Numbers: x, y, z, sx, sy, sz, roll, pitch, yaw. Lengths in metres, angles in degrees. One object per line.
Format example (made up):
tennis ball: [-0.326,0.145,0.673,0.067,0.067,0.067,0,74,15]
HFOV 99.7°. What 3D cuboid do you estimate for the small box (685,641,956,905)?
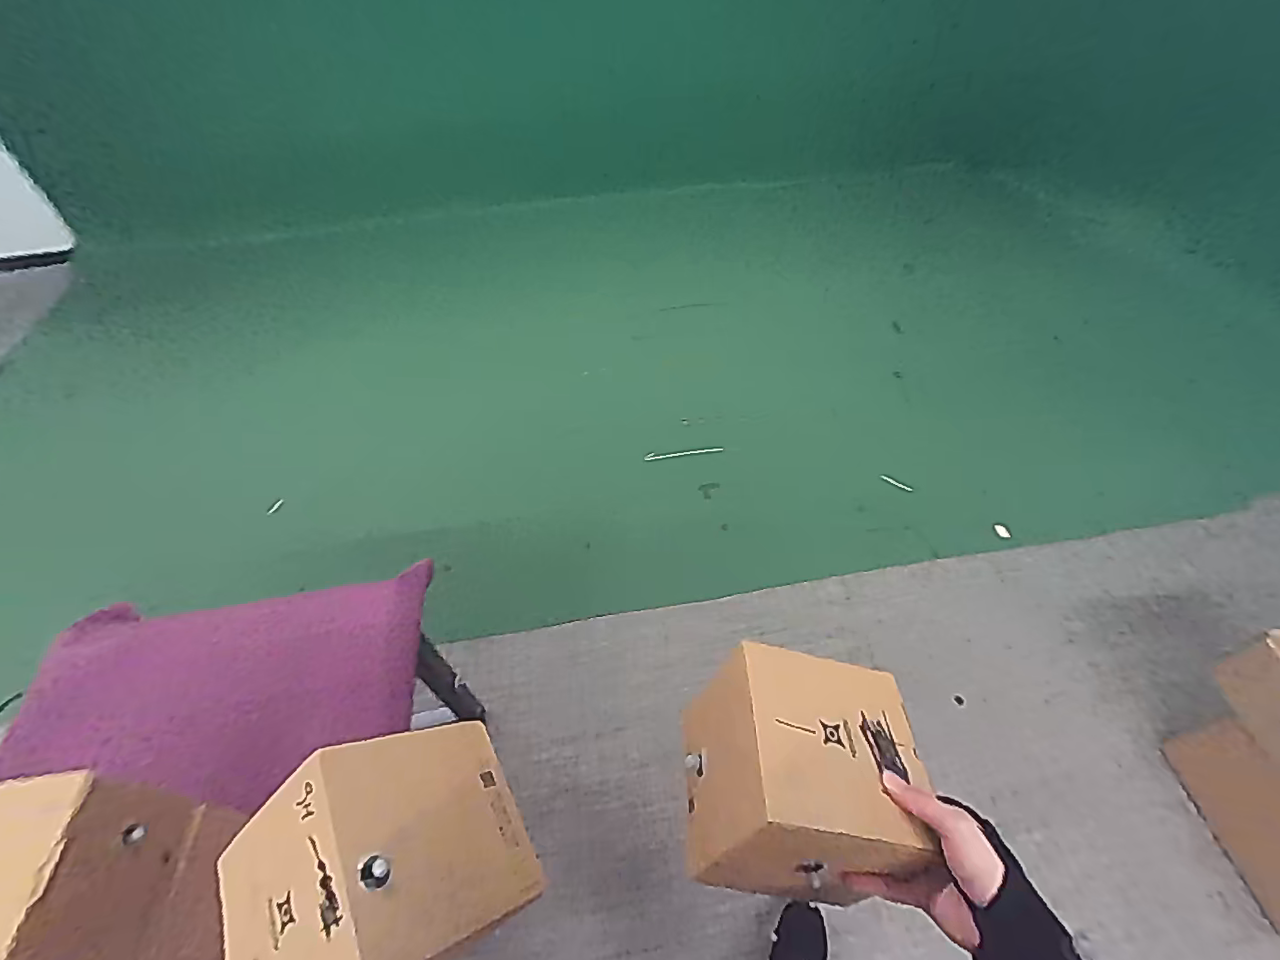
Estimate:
small box: [0.157,0.292,0.535,0.179,0.176,0.168,16,37,-8]

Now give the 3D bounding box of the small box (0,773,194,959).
small box: [-0.609,0.412,0.539,0.179,0.176,0.168,-7,49,-3]

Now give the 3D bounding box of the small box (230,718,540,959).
small box: [-0.222,0.338,0.477,0.179,0.176,0.168,-46,57,16]
